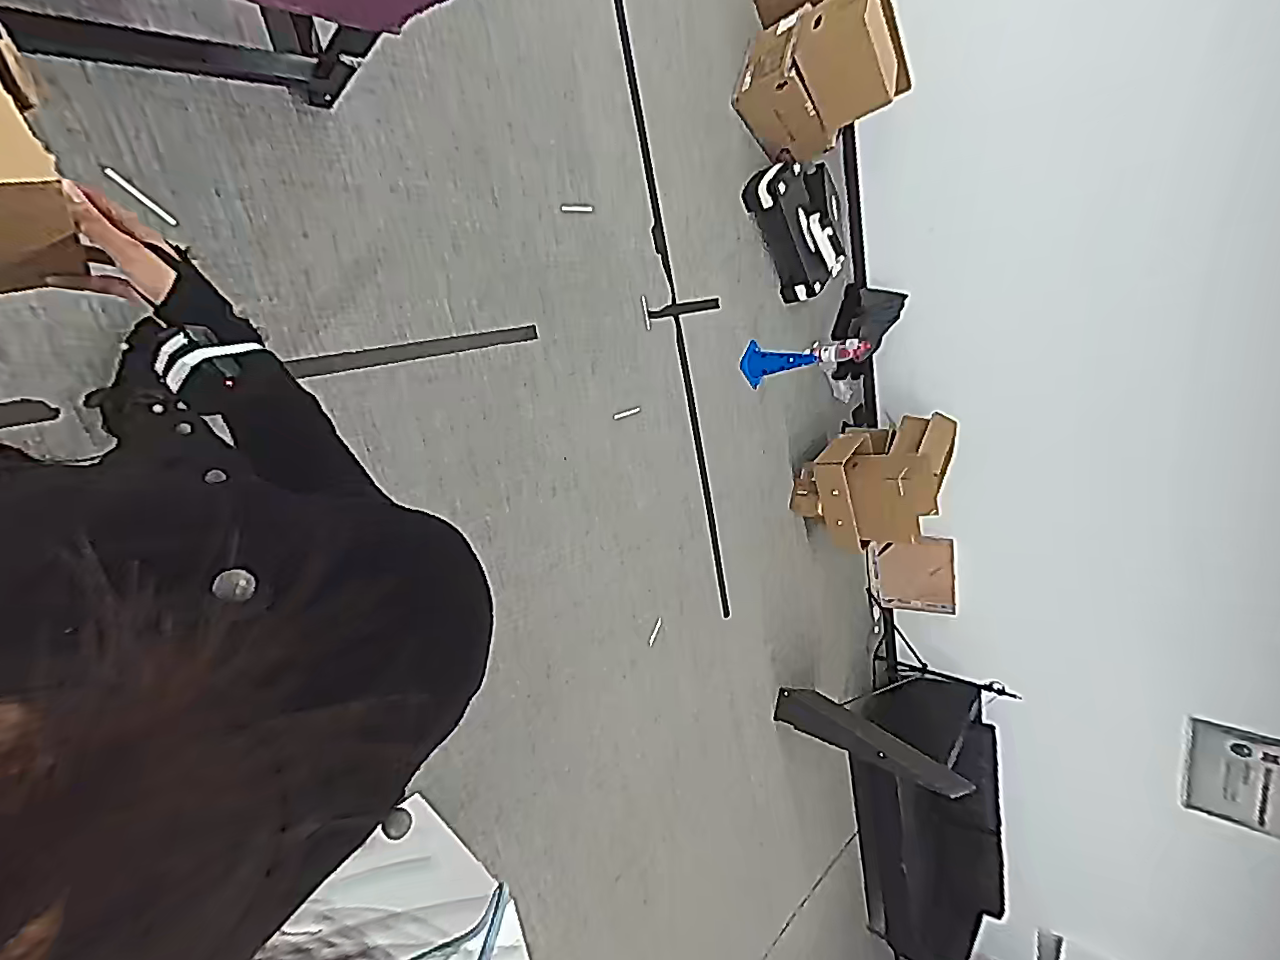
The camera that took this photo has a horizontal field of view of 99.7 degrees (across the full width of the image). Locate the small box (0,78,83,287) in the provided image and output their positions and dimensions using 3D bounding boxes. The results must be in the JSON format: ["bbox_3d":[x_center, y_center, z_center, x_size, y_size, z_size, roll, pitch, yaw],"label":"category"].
[{"bbox_3d":[-0.551,-0.239,0.375,0.179,0.176,0.168,-33,103,-40],"label":"small box"}]
